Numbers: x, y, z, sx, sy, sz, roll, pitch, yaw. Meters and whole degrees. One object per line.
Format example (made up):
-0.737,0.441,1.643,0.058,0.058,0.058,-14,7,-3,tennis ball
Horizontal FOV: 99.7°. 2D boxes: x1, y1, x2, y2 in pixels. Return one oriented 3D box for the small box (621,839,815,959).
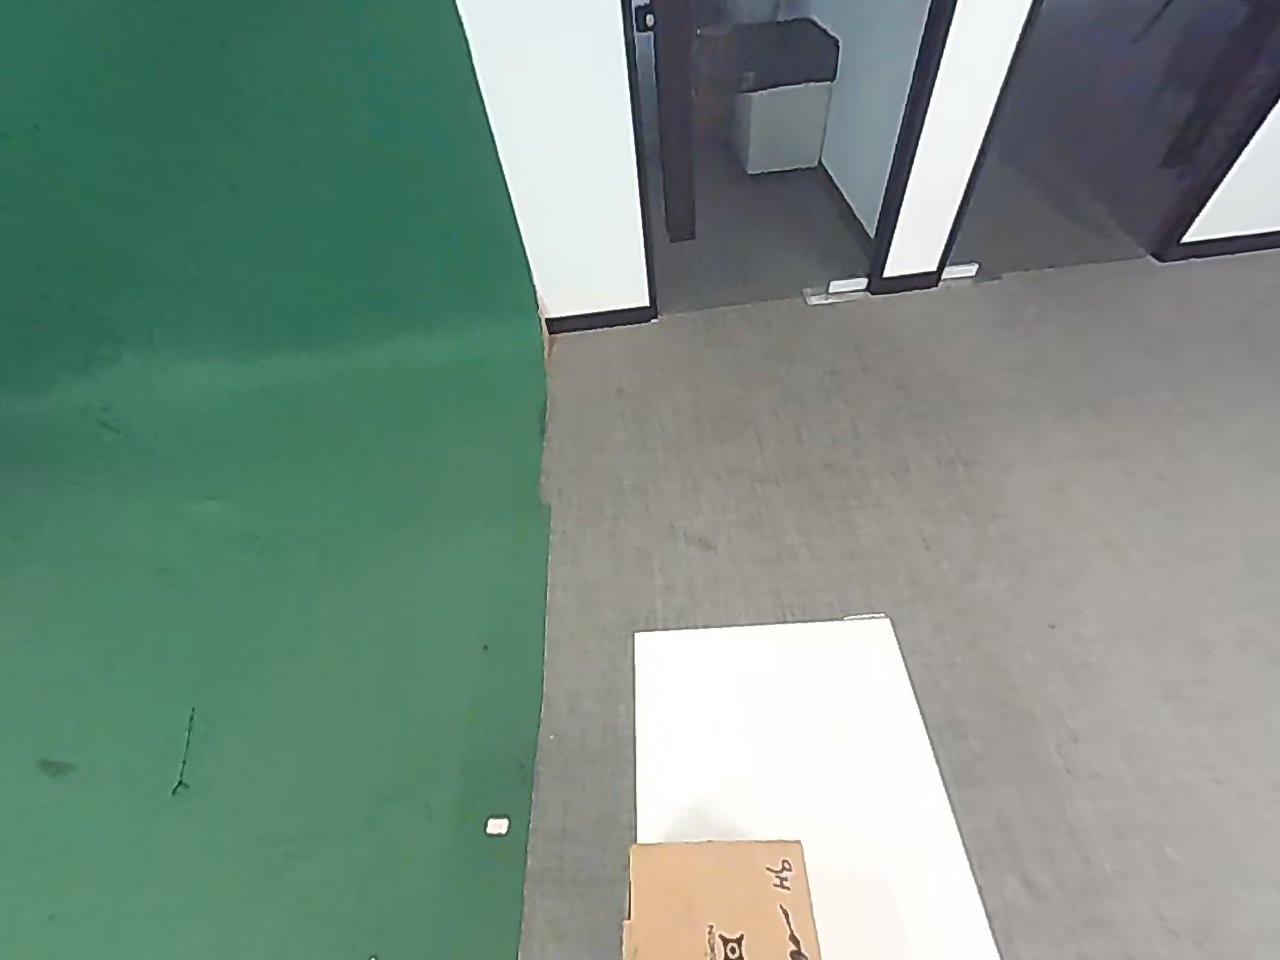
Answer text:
0.077,0.476,0.550,0.179,0.176,0.168,-4,50,4,small box
